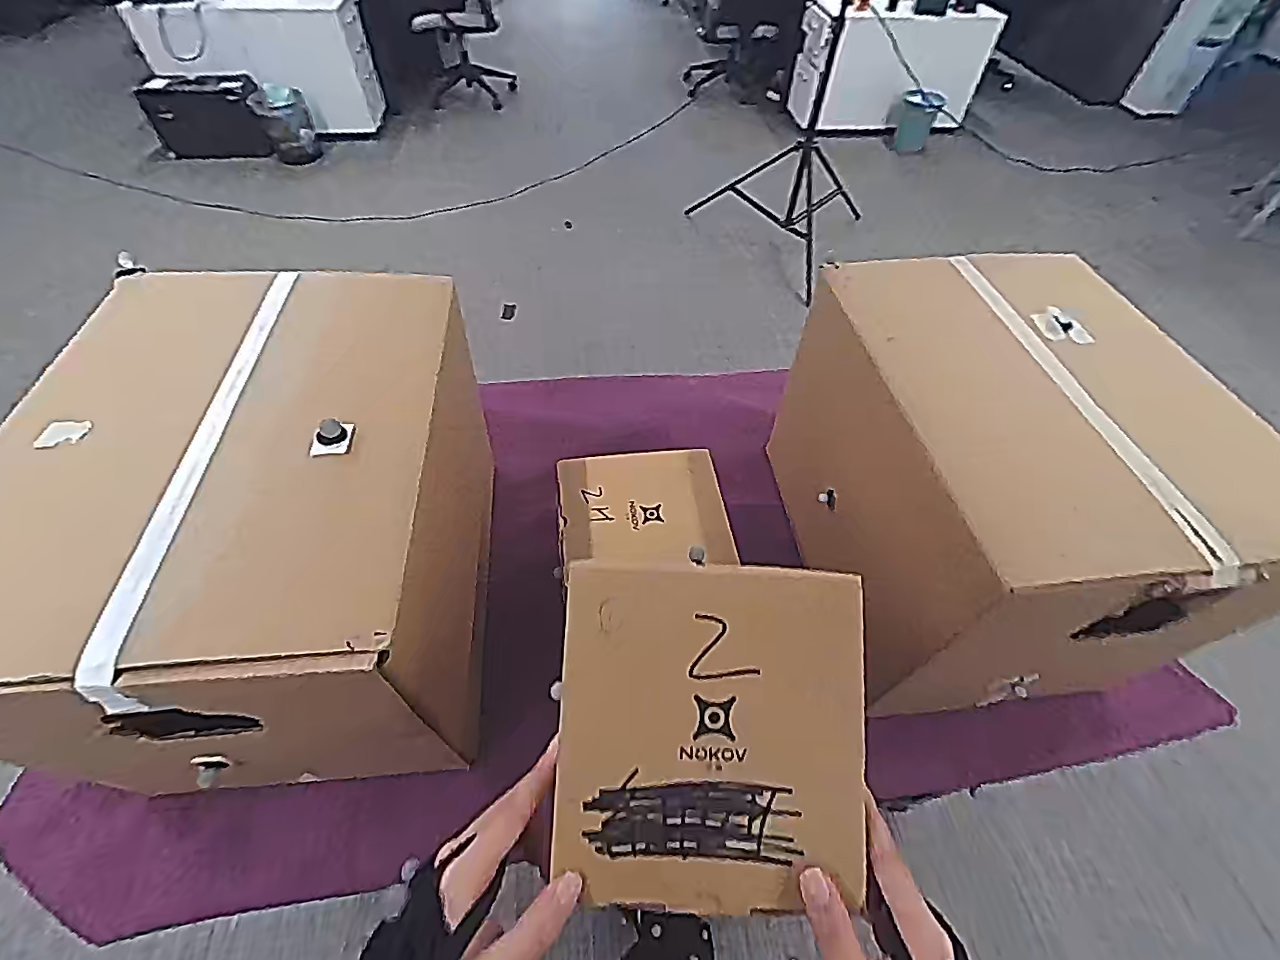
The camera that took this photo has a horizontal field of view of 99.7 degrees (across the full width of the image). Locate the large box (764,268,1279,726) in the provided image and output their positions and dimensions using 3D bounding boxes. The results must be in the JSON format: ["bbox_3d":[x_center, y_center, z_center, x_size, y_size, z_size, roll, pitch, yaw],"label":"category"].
[{"bbox_3d":[0.364,0.012,0.613,0.320,0.320,0.408,-4,51,-6],"label":"large box"}]
